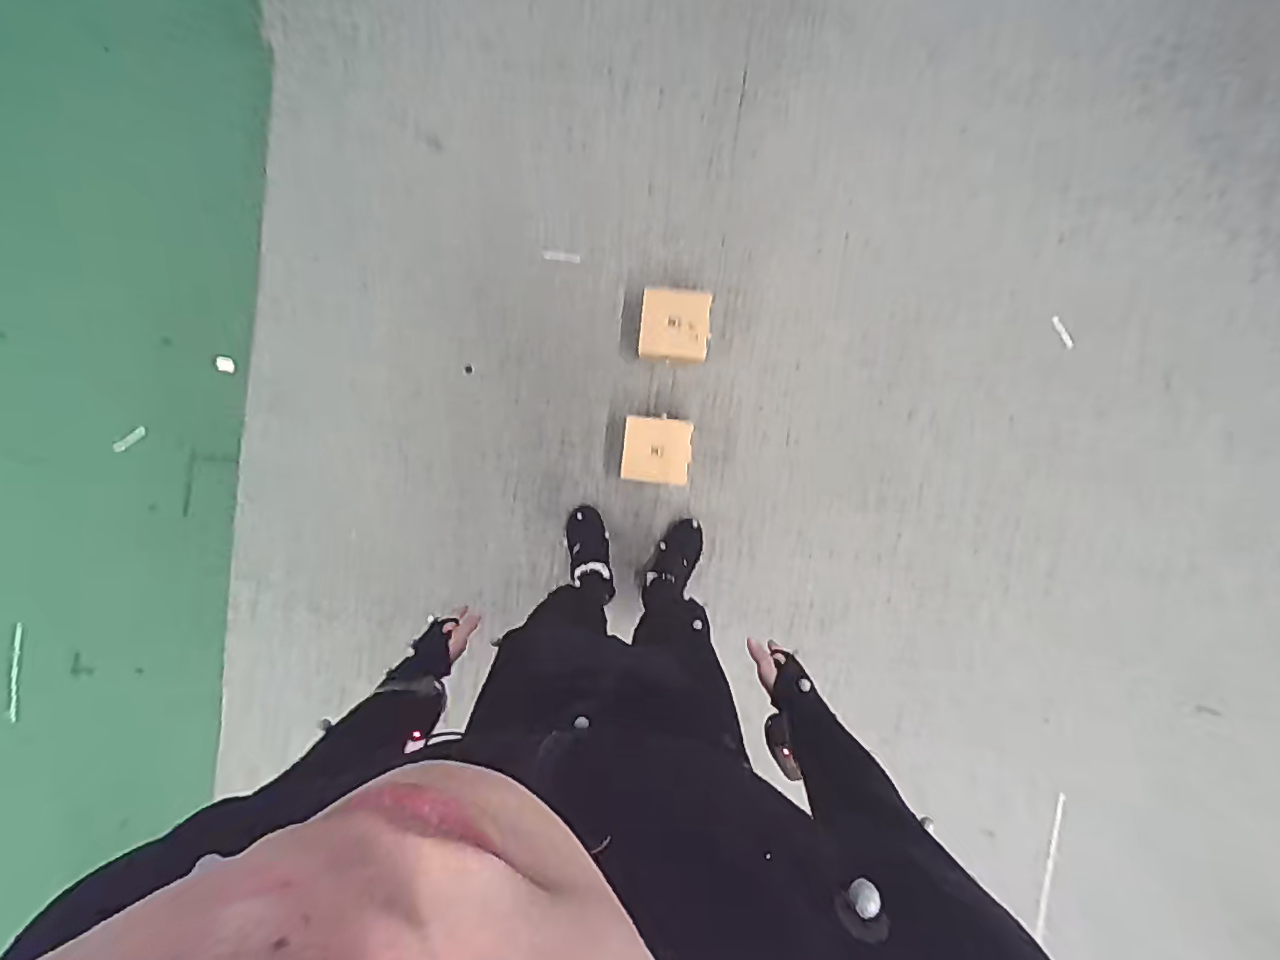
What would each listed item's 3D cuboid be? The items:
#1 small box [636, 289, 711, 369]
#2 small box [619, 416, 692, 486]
[{"bbox_3d":[0.086,-0.398,1.449,0.179,0.176,0.168,6,93,1],"label":"small box"},{"bbox_3d":[0.041,-0.077,1.470,0.179,0.176,0.168,6,93,1],"label":"small box"}]
